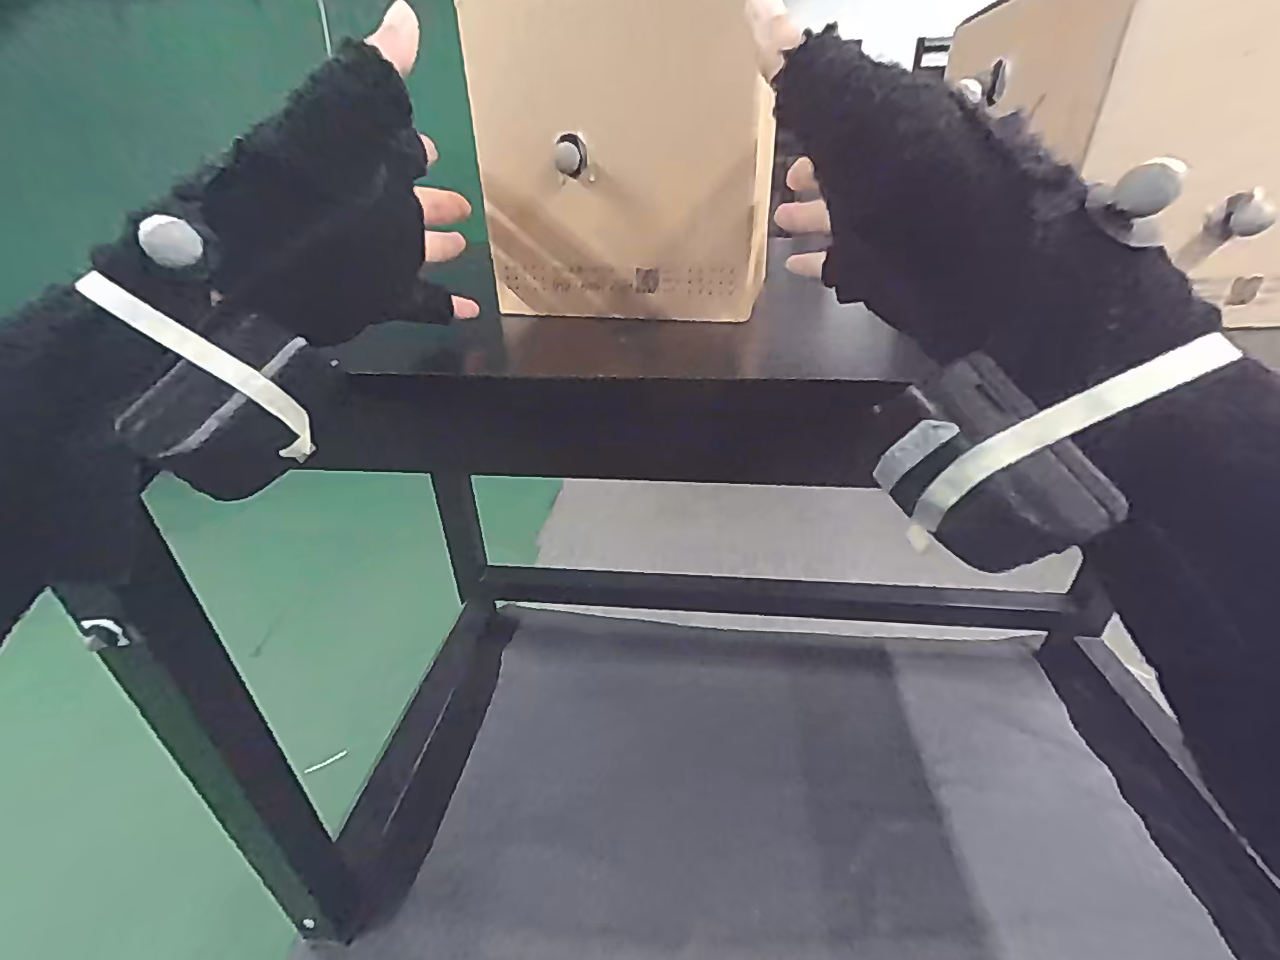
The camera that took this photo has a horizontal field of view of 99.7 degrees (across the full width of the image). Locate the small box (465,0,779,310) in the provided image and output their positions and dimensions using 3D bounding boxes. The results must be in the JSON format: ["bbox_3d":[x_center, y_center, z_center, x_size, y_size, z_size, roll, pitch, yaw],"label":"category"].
[{"bbox_3d":[0.006,-0.222,0.386,0.168,0.176,0.179,6,29,13],"label":"small box"}]
